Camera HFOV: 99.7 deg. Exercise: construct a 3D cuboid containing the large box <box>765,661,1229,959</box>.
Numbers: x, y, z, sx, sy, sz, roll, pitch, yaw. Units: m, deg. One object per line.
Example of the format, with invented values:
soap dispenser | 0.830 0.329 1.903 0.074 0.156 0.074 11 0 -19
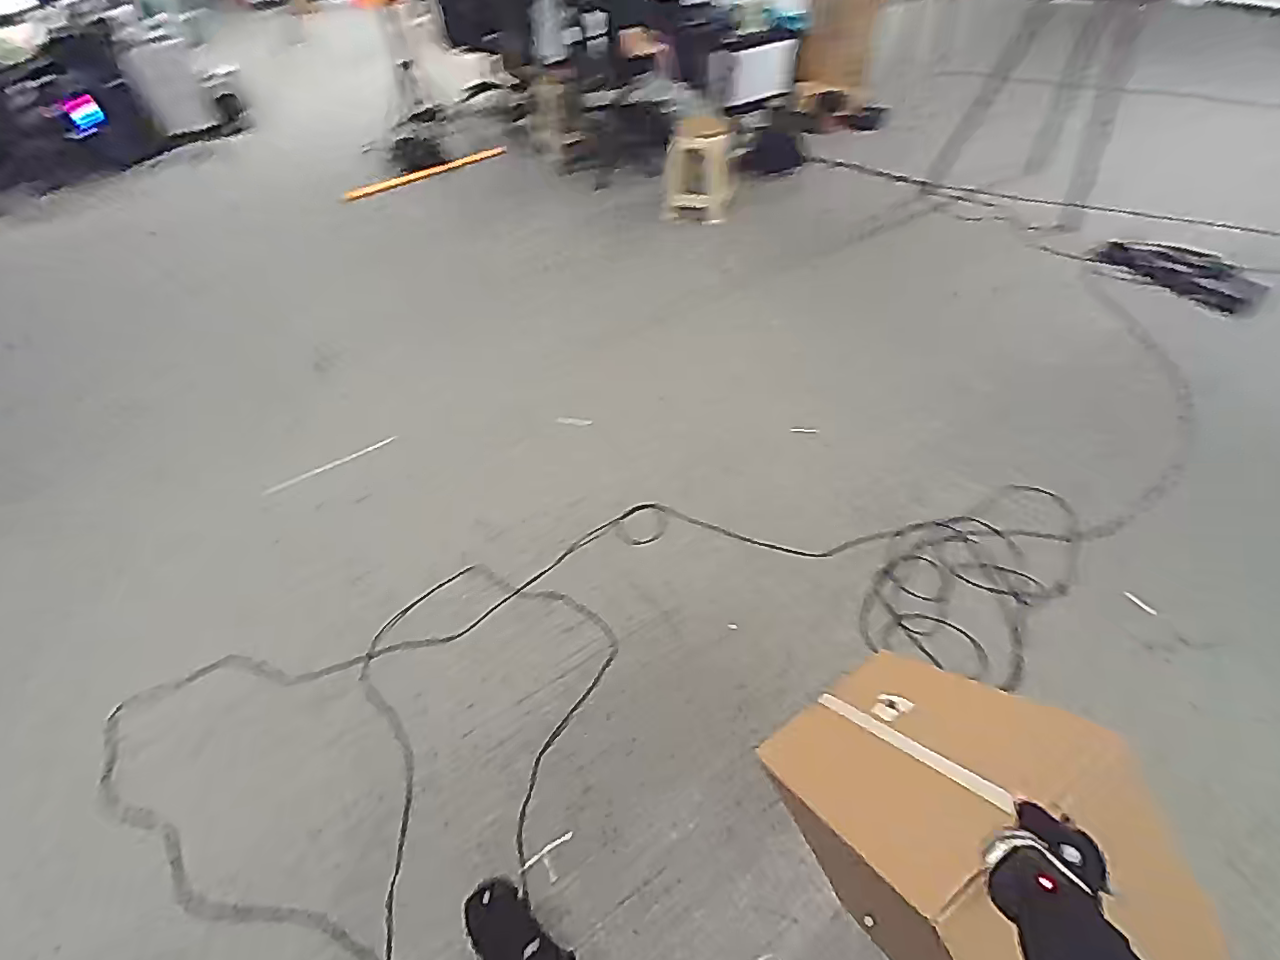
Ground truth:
large box | 0.462 0.523 0.787 0.320 0.408 0.320 -30 92 -14
